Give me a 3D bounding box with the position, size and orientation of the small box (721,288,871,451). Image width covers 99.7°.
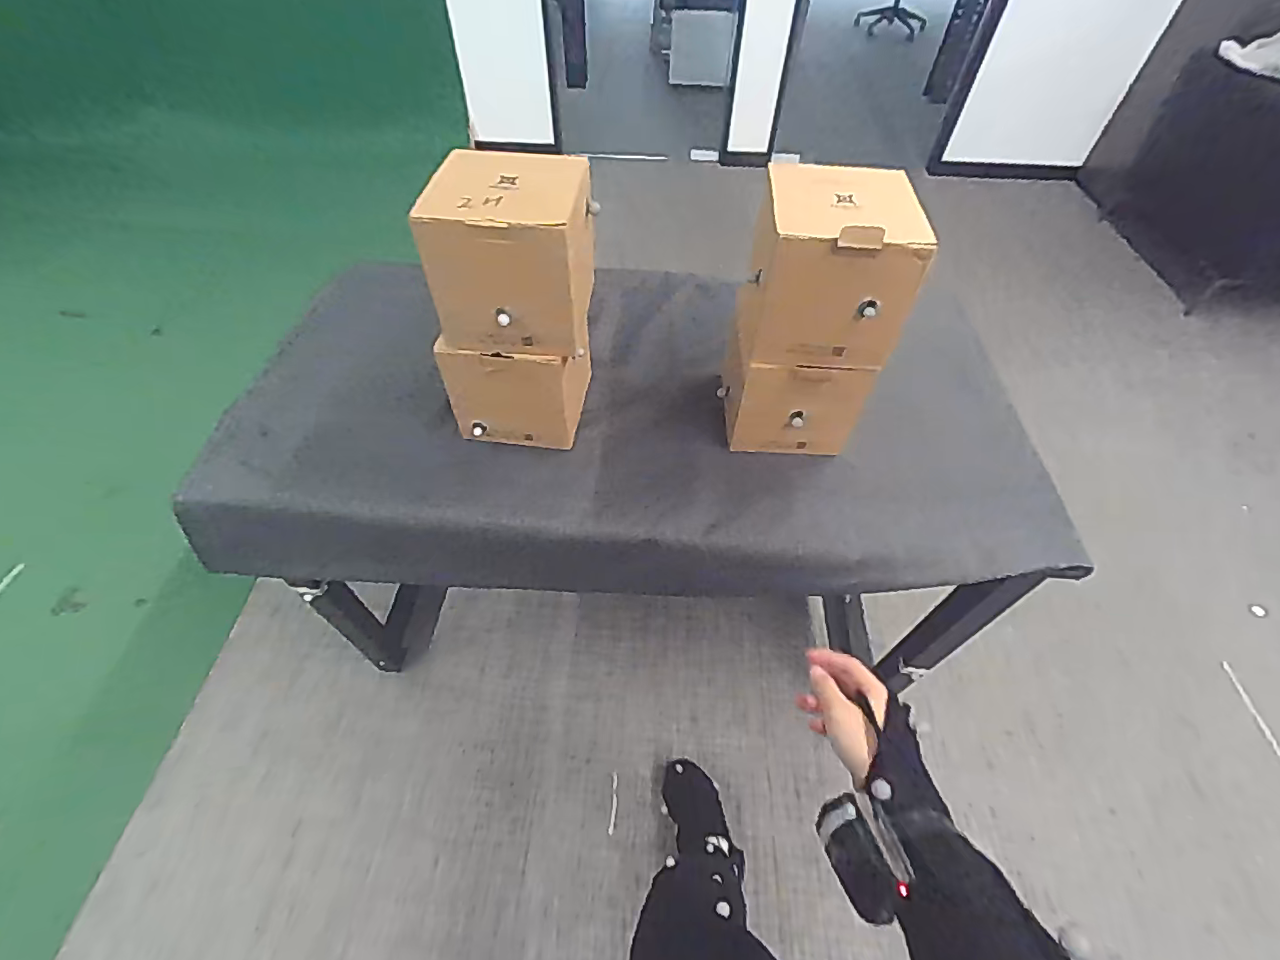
[{"bbox_3d":[0.214,-0.159,0.796,0.168,0.176,0.179,2,52,0],"label":"small box"}]

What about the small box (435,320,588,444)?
[{"bbox_3d":[-0.172,-0.173,0.795,0.168,0.176,0.179,7,51,3],"label":"small box"}]

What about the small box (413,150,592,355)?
[{"bbox_3d":[-0.152,-0.280,0.670,0.168,0.176,0.179,4,52,2],"label":"small box"}]

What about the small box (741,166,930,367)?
[{"bbox_3d":[0.222,-0.259,0.668,0.168,0.176,0.179,5,51,1],"label":"small box"}]
